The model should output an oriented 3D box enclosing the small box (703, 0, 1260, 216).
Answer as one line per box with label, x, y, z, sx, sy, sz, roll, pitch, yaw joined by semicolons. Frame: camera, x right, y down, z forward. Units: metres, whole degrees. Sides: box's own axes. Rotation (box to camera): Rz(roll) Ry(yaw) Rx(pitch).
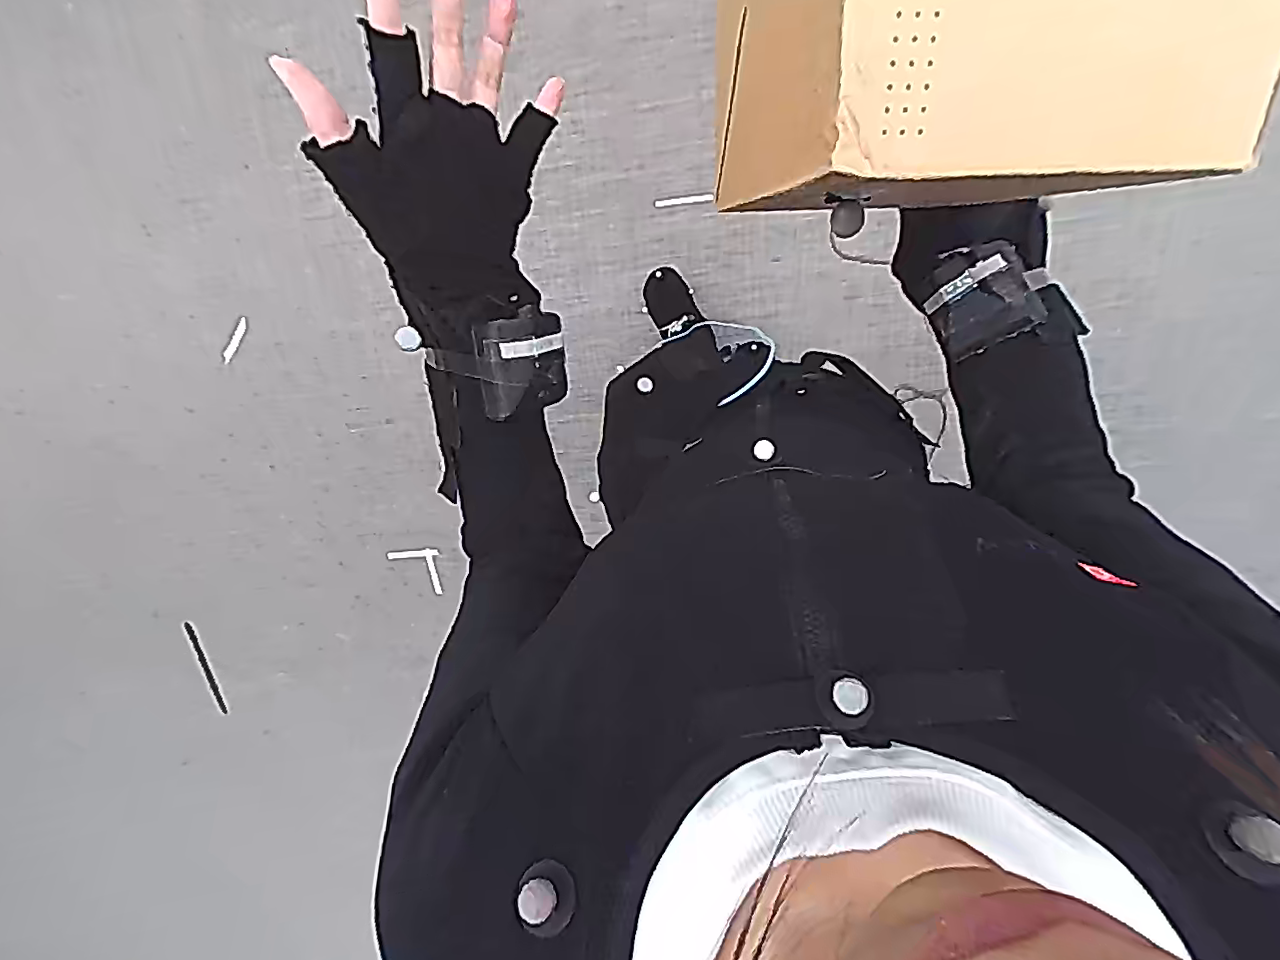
small box;0.127;-0.226;0.246;0.176;0.168;0.179;-4;113;-4
